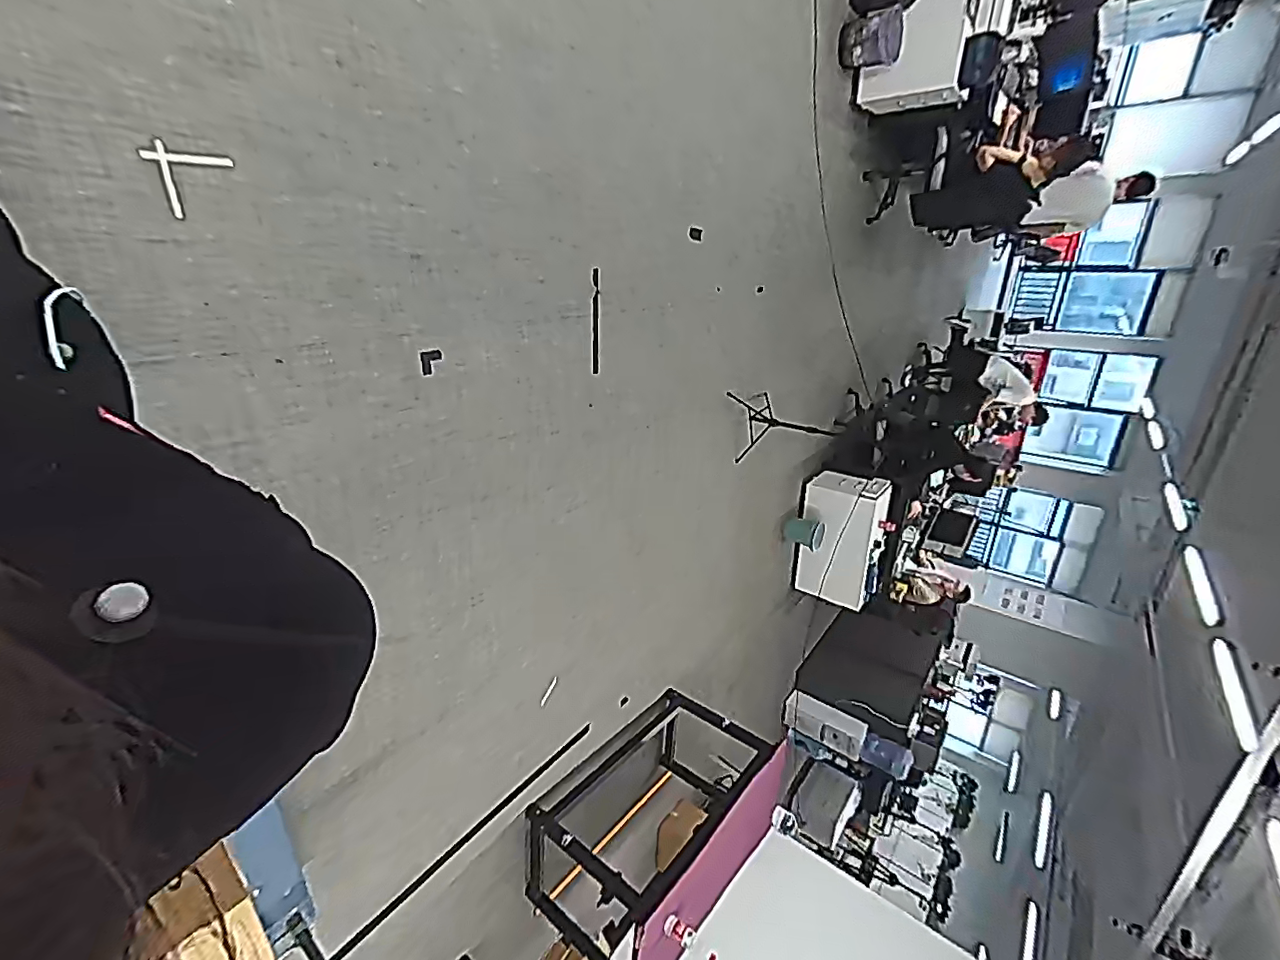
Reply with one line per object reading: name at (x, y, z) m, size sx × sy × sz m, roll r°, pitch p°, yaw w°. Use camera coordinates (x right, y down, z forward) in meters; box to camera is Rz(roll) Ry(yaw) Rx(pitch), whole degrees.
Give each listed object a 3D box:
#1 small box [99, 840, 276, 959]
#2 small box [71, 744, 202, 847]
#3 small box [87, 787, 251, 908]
small box at (-0.733, 0.745, 0.882) m, size 0.168 × 0.176 × 0.179 m, roll -25°, pitch 123°, yaw -46°
small box at (-0.983, 0.662, 1.077) m, size 0.168 × 0.176 × 0.179 m, roll -25°, pitch 124°, yaw -45°
small box at (-0.854, 0.699, 0.982) m, size 0.168 × 0.176 × 0.179 m, roll -28°, pitch 124°, yaw -44°
